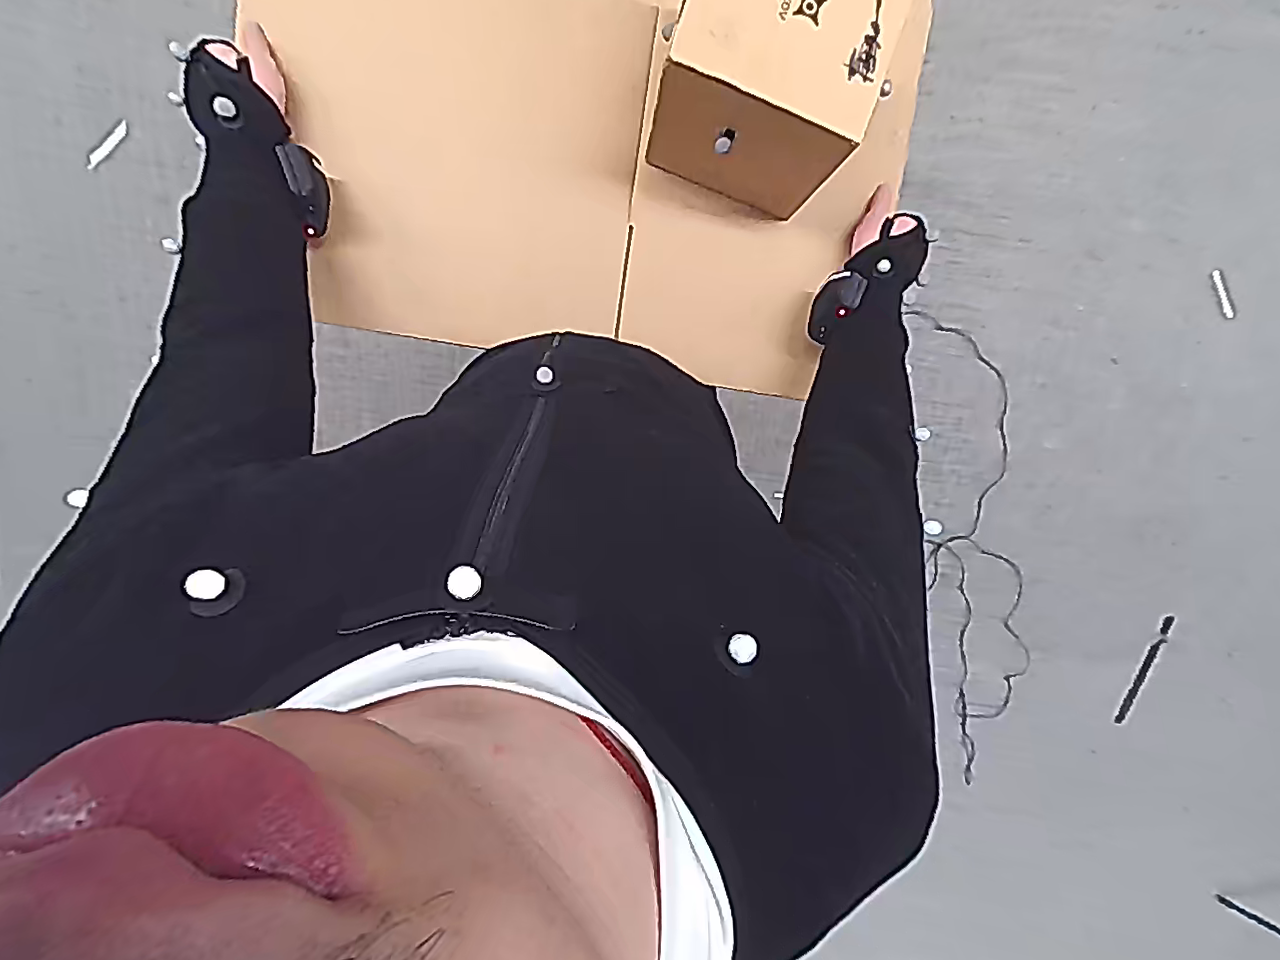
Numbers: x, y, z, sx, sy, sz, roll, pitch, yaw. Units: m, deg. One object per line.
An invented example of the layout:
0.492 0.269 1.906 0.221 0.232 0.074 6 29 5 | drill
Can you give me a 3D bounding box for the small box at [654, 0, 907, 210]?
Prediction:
0.121 -0.393 0.521 0.179 0.176 0.168 19 94 -6 | small box
